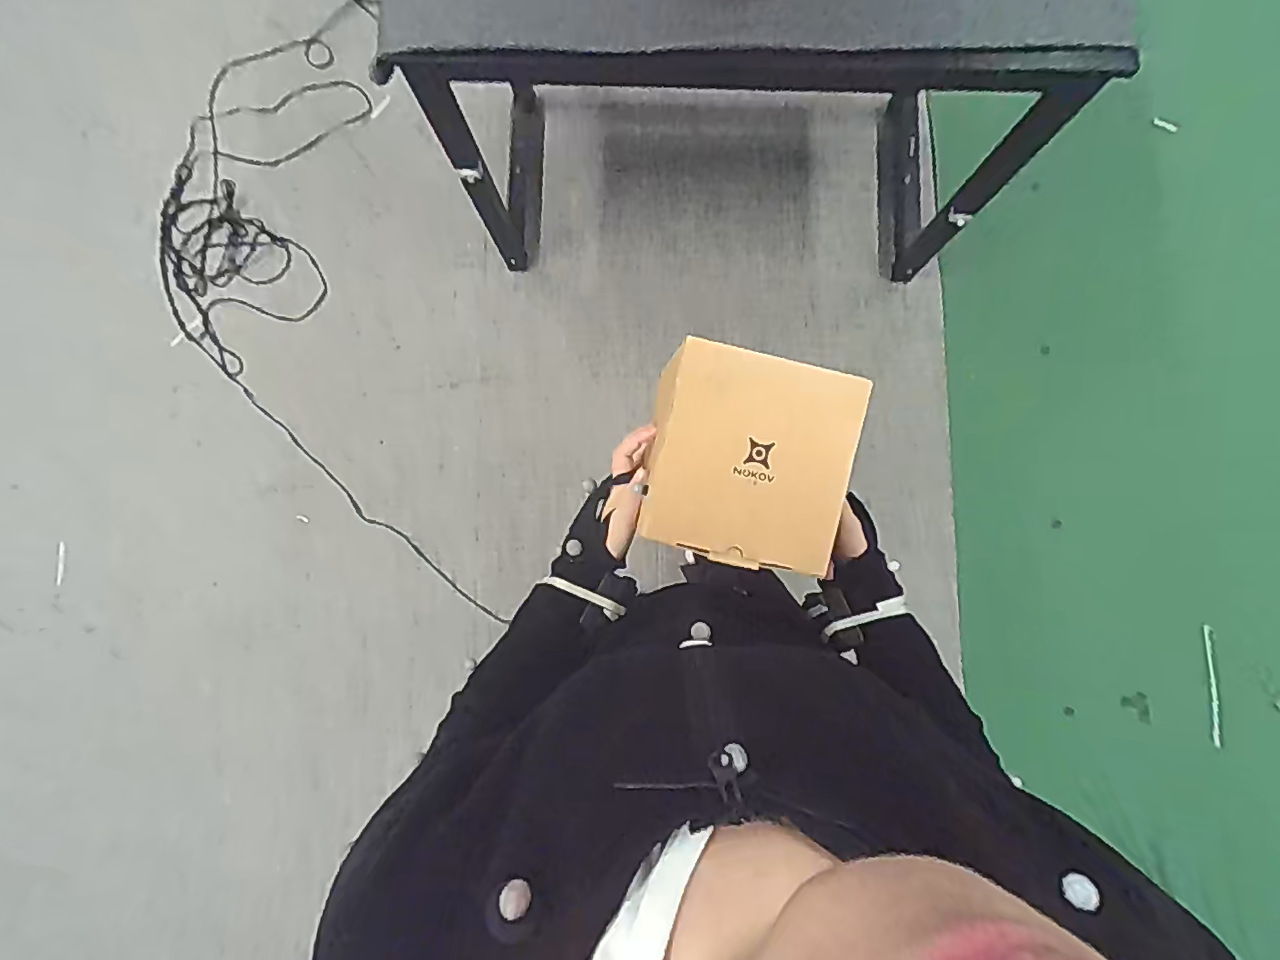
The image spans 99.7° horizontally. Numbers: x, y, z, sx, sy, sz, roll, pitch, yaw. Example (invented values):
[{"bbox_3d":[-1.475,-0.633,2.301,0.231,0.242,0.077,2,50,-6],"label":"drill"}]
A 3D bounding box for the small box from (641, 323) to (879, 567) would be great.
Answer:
[{"bbox_3d":[0.099,-0.031,0.527,0.168,0.176,0.179,12,92,-4],"label":"small box"}]
